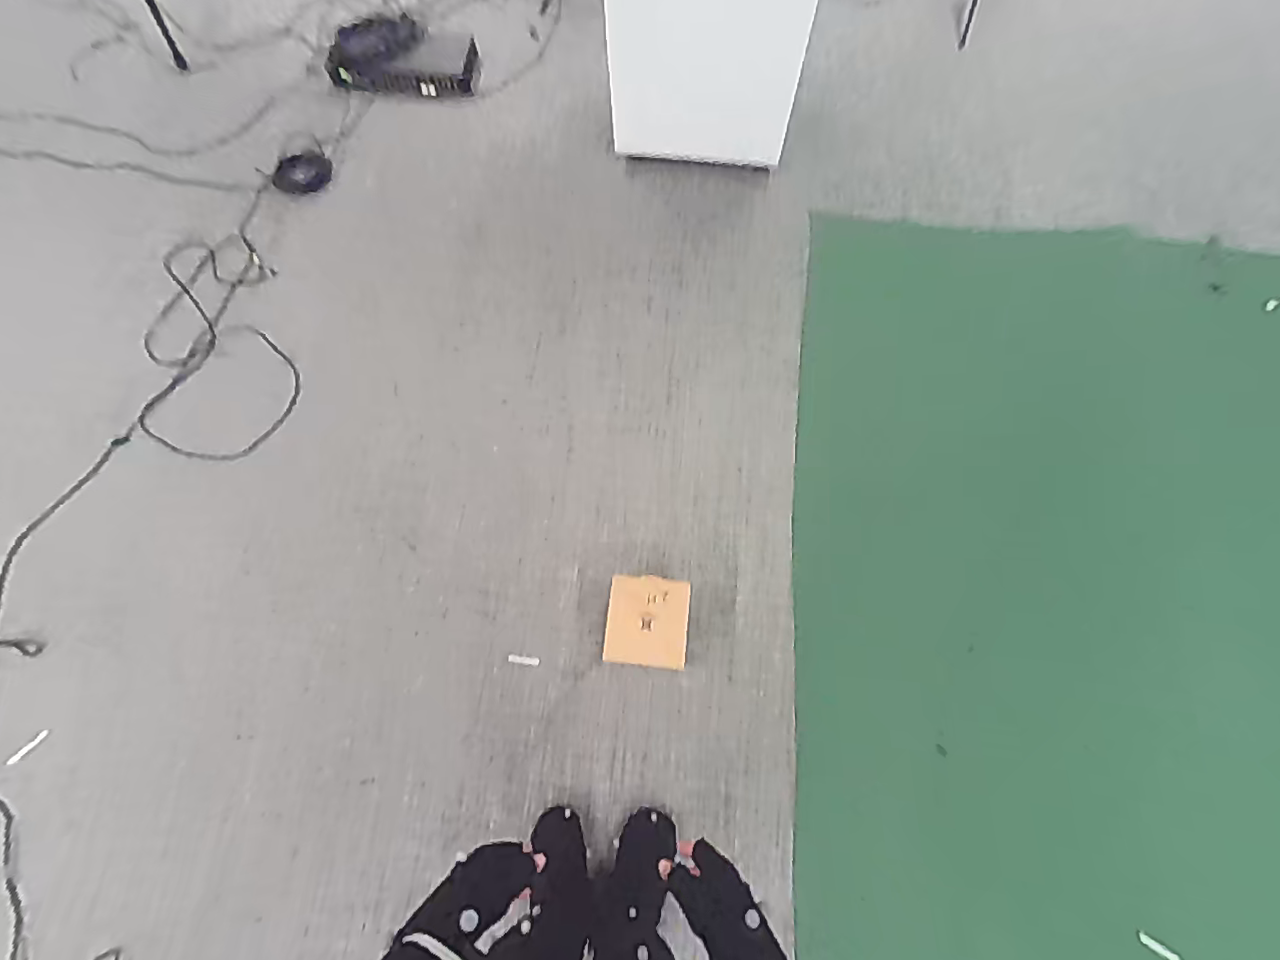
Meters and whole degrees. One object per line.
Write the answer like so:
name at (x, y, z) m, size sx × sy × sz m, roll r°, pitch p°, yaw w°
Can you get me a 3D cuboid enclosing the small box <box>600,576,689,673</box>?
small box at (0.013, 0.317, 1.169) m, size 0.168 × 0.176 × 0.179 m, roll 6°, pitch 70°, yaw 3°
